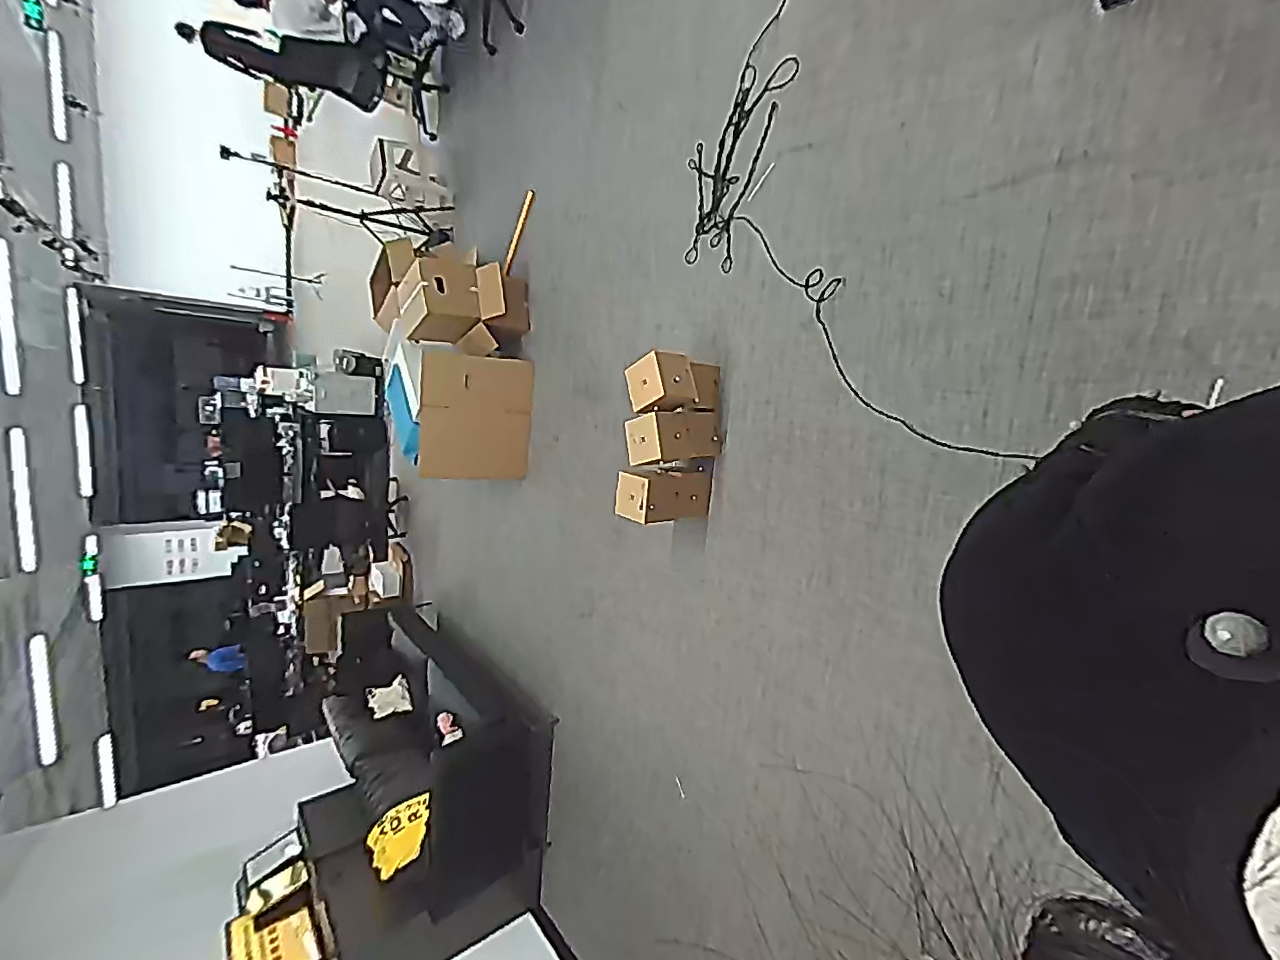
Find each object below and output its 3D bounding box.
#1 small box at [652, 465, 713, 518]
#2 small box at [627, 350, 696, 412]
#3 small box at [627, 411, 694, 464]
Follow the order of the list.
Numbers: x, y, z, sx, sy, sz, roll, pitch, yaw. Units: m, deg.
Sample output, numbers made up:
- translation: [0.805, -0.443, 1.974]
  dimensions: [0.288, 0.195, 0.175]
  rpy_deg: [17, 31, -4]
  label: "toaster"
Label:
- translation: [0.169, 0.039, 2.115]
  dimensions: [0.168, 0.176, 0.179]
  rpy_deg: [15, 105, 50]
  label: "small box"
- translation: [0.084, -0.348, 1.930]
  dimensions: [0.179, 0.176, 0.168]
  rpy_deg: [-24, 74, 50]
  label: "small box"
- translation: [0.080, -0.152, 1.953]
  dimensions: [0.179, 0.176, 0.168]
  rpy_deg: [-12, 83, 51]
  label: "small box"
